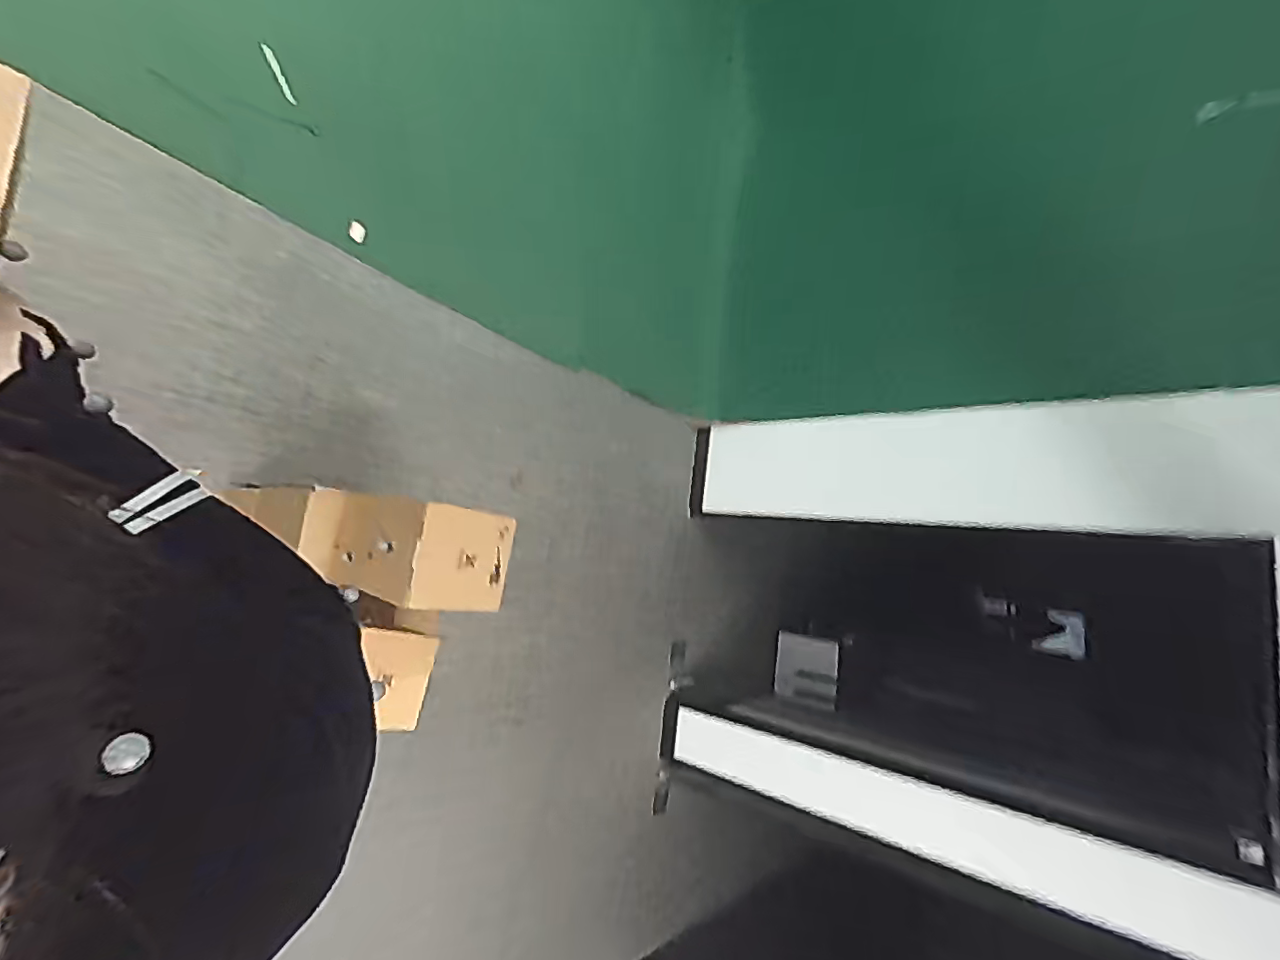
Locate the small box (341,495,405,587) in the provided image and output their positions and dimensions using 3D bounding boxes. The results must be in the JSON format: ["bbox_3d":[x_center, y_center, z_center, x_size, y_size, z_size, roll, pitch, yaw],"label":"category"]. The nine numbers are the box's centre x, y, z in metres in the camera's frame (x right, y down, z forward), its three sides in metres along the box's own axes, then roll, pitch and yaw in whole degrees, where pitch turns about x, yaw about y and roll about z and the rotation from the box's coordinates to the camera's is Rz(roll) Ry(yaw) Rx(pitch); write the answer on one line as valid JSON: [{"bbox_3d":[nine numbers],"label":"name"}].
[{"bbox_3d":[-0.451,0.127,1.056,0.179,0.176,0.168,21,76,-49],"label":"small box"}]

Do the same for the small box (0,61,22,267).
[{"bbox_3d":[-0.498,-0.181,0.315,0.168,0.176,0.179,11,87,-50],"label":"small box"}]

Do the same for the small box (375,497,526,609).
[{"bbox_3d":[-0.332,0.125,0.942,0.179,0.176,0.168,18,78,-48],"label":"small box"}]

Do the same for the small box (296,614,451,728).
[{"bbox_3d":[-0.492,0.351,1.003,0.179,0.176,0.168,28,67,-47],"label":"small box"}]
